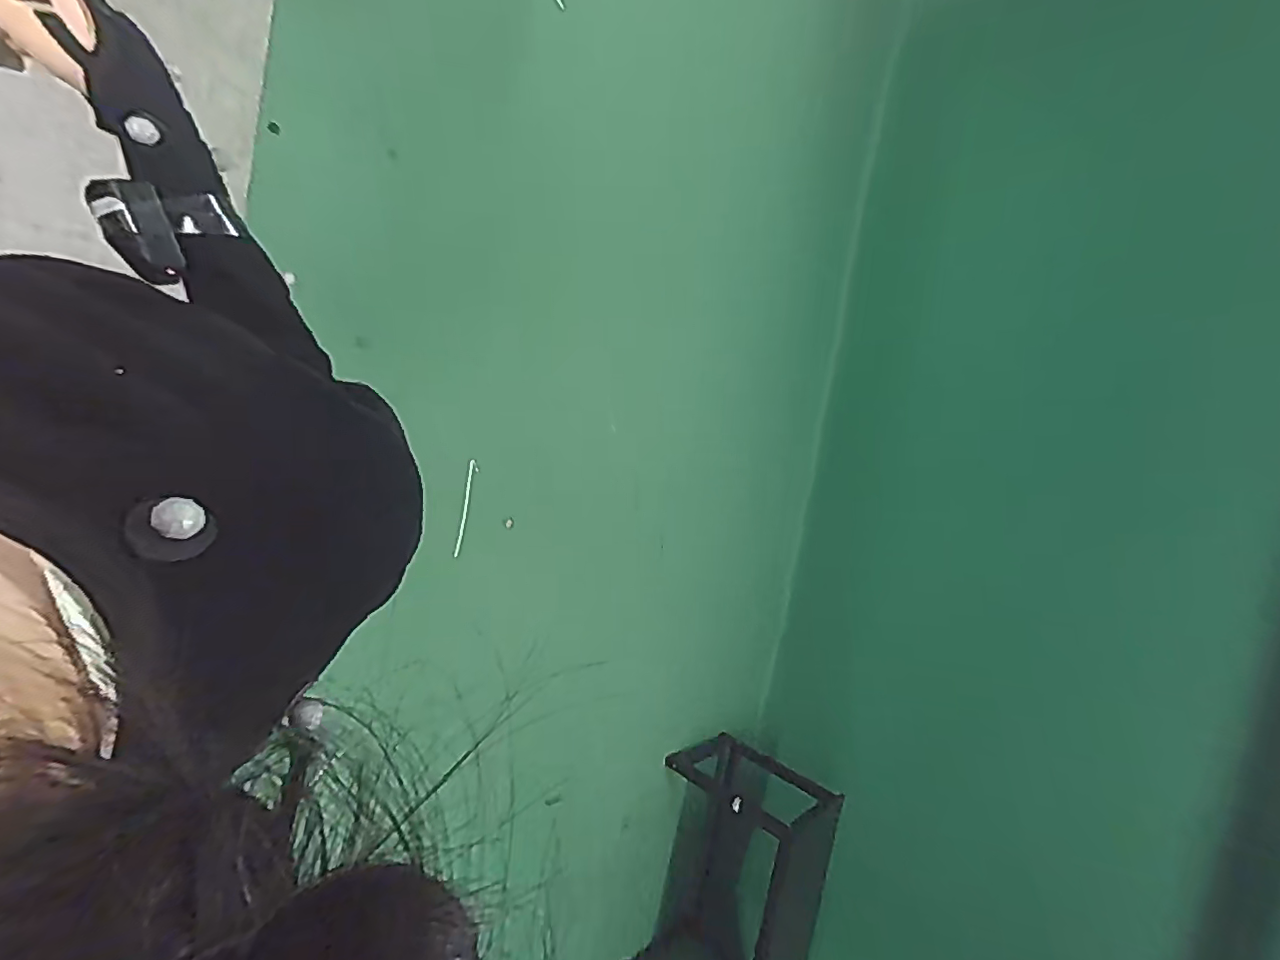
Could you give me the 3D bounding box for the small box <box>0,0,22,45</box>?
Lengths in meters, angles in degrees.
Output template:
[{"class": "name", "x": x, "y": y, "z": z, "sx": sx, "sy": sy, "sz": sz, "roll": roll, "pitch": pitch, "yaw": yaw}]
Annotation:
[{"class": "small box", "x": -0.520, "y": -0.388, "z": 0.310, "sx": 0.179, "sy": 0.176, "sz": 0.168, "roll": -15, "pitch": 115, "yaw": -38}]
